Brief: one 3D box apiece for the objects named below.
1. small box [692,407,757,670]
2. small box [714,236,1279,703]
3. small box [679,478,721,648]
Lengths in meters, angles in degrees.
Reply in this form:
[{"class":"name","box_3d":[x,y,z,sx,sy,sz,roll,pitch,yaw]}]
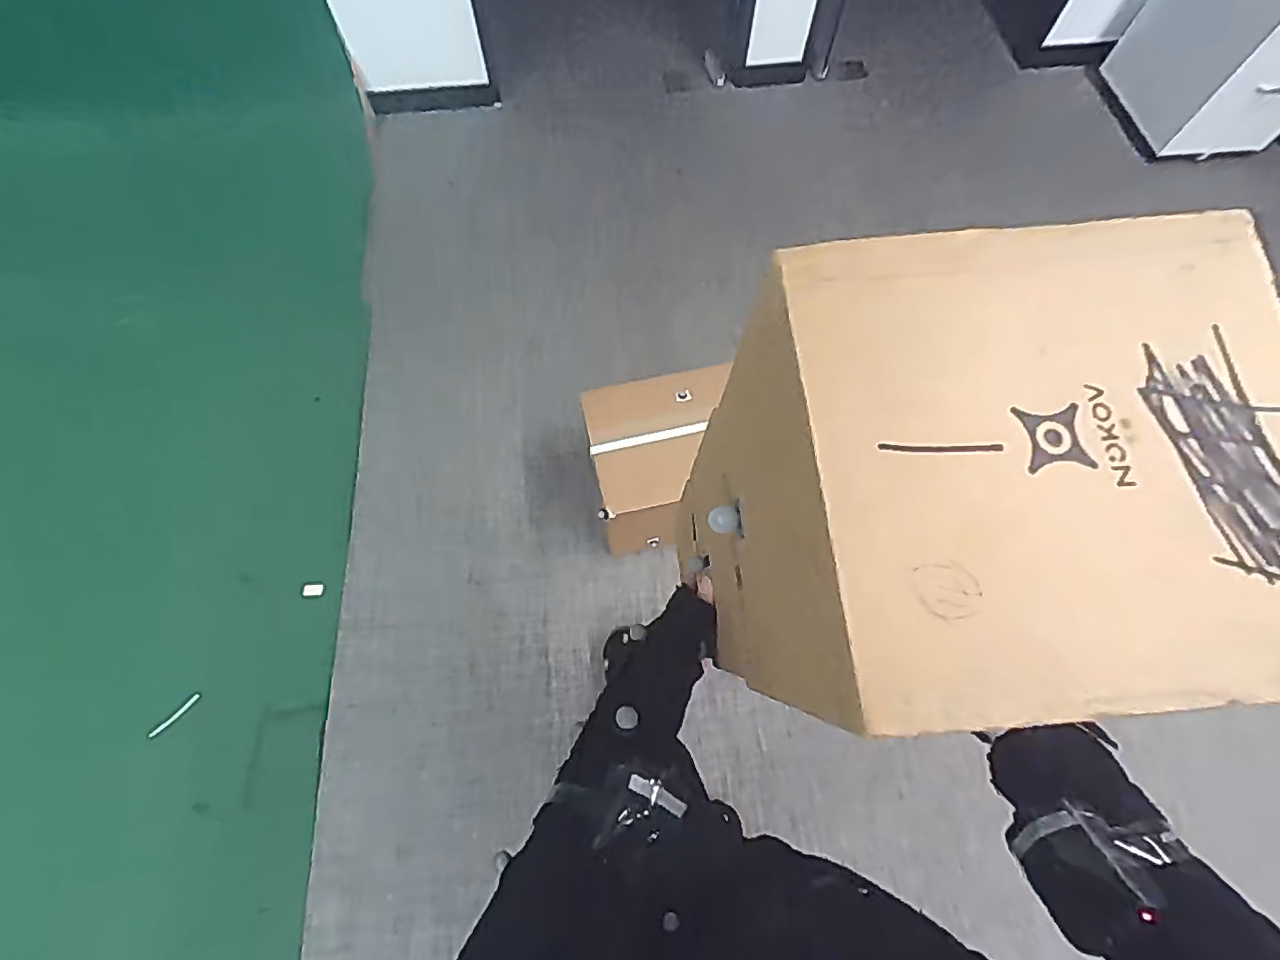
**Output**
[{"class":"small box","box_3d":[0.138,0.047,0.431,0.168,0.176,0.179,-6,74,-2]},{"class":"small box","box_3d":[0.142,0.009,0.270,0.179,0.176,0.168,-5,73,-1]},{"class":"small box","box_3d":[0.138,0.091,0.588,0.179,0.176,0.168,-5,74,-3]}]
